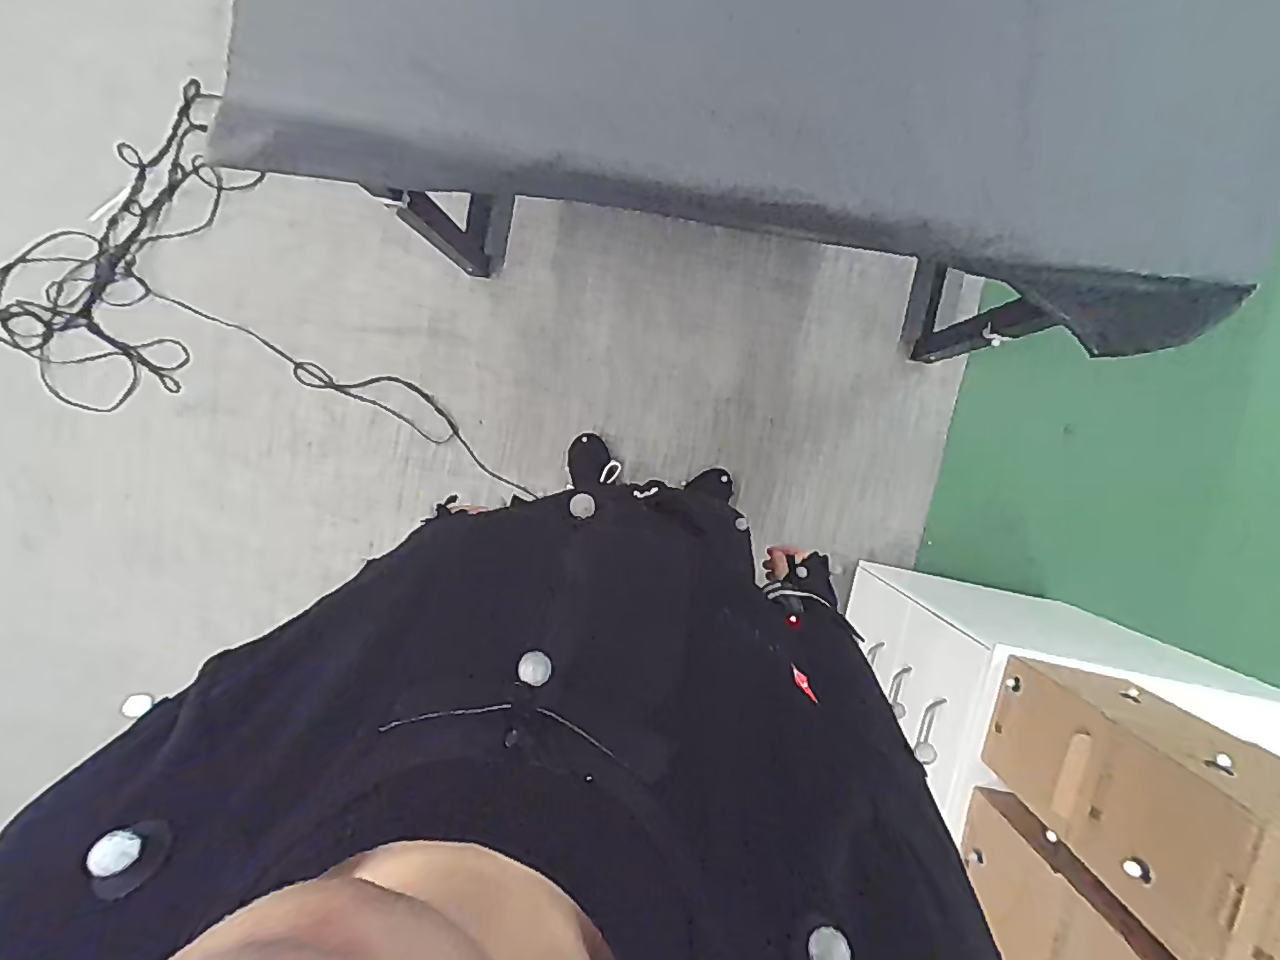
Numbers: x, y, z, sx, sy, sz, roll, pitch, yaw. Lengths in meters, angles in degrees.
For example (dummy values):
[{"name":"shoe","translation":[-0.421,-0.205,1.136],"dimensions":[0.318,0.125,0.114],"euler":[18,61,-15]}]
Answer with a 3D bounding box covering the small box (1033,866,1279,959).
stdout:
[{"name":"small box","translation":[0.550,0.543,0.558],"dimensions":[0.179,0.176,0.168],"euler":[8,94,1]}]
